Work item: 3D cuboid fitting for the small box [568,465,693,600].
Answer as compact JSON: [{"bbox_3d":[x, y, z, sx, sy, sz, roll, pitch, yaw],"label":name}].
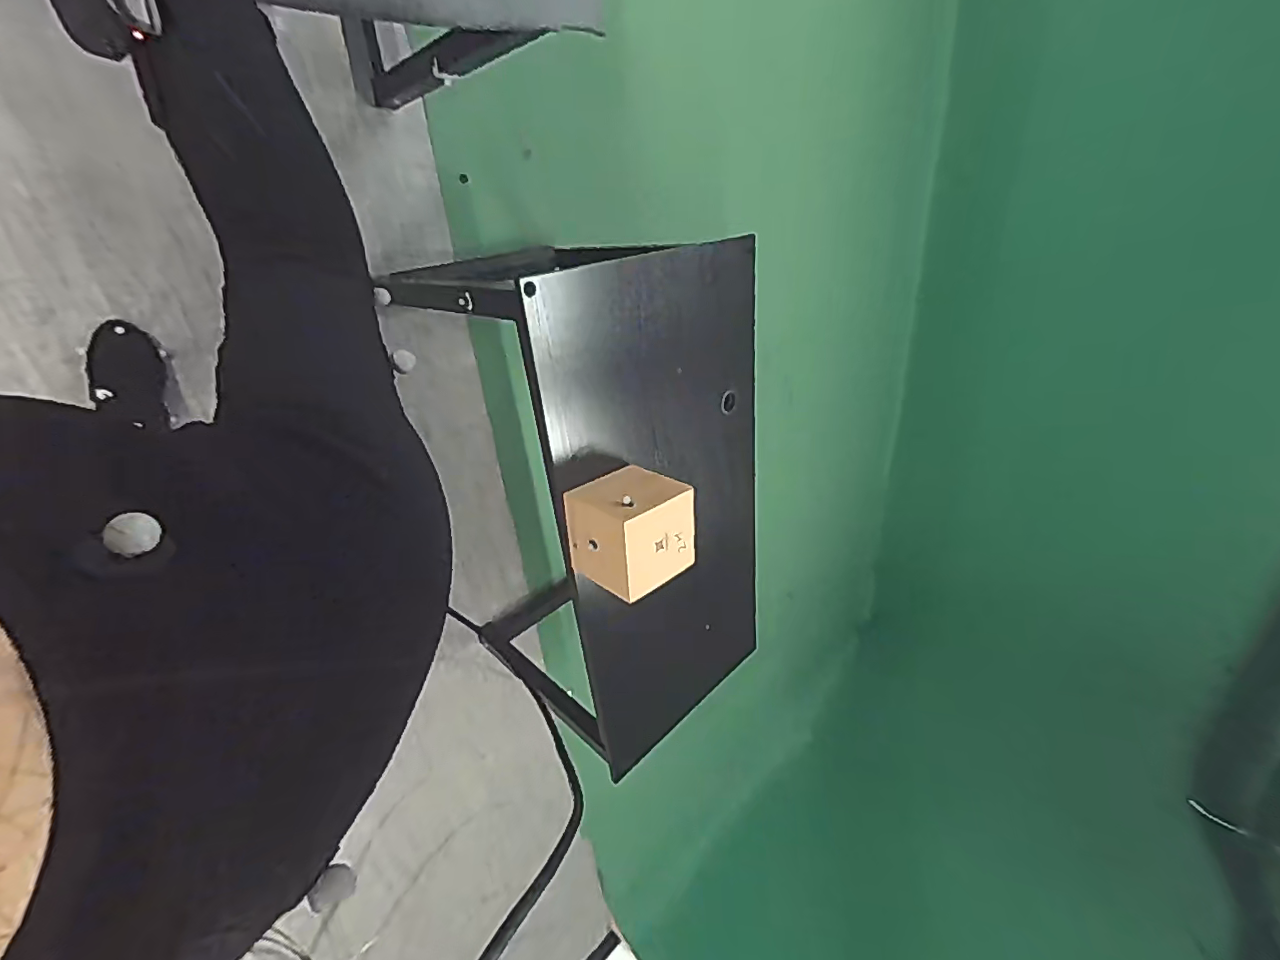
[{"bbox_3d":[-0.021,0.088,1.009,0.179,0.176,0.168,-24,123,-37],"label":"small box"}]
